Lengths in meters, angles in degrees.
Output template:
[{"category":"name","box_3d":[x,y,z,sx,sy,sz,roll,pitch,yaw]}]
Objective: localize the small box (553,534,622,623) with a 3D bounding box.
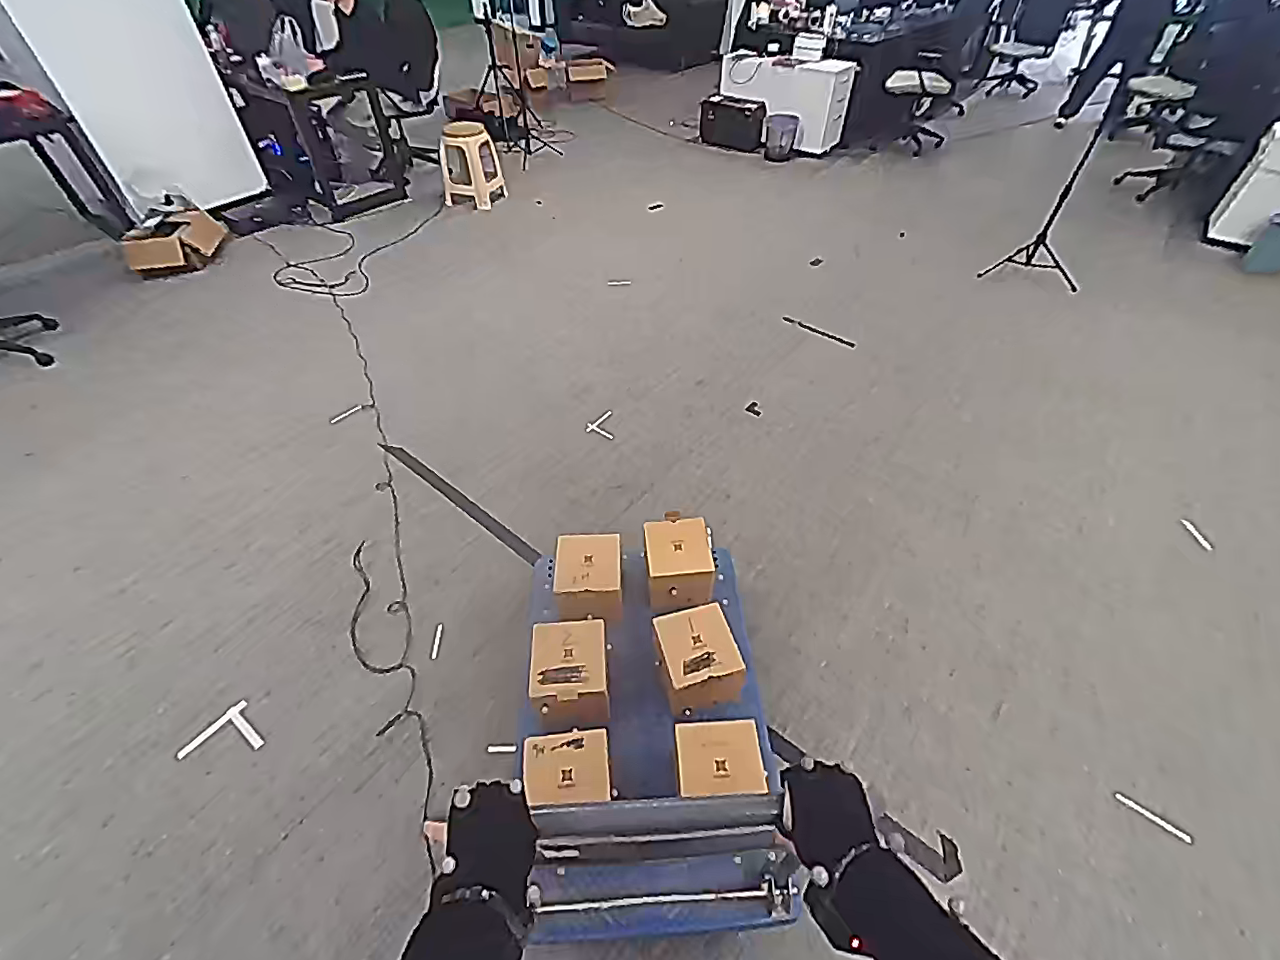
[{"category":"small box","box_3d":[-0.134,0.262,1.436,0.168,0.176,0.179,-2,48,-1]}]

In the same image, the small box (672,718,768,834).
[{"category":"small box","box_3d":[0.156,0.611,1.109,0.168,0.176,0.179,-2,46,-2]}]

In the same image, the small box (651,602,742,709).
[{"category":"small box","box_3d":[0.128,0.423,1.285,0.168,0.176,0.179,-12,47,-10]}]

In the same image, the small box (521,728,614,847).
[{"category":"small box","box_3d":[-0.142,0.626,1.095,0.168,0.176,0.179,-4,47,-5]}]

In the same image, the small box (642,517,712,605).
[{"category":"small box","box_3d":[0.096,0.226,1.470,0.168,0.176,0.179,-5,47,-4]}]
